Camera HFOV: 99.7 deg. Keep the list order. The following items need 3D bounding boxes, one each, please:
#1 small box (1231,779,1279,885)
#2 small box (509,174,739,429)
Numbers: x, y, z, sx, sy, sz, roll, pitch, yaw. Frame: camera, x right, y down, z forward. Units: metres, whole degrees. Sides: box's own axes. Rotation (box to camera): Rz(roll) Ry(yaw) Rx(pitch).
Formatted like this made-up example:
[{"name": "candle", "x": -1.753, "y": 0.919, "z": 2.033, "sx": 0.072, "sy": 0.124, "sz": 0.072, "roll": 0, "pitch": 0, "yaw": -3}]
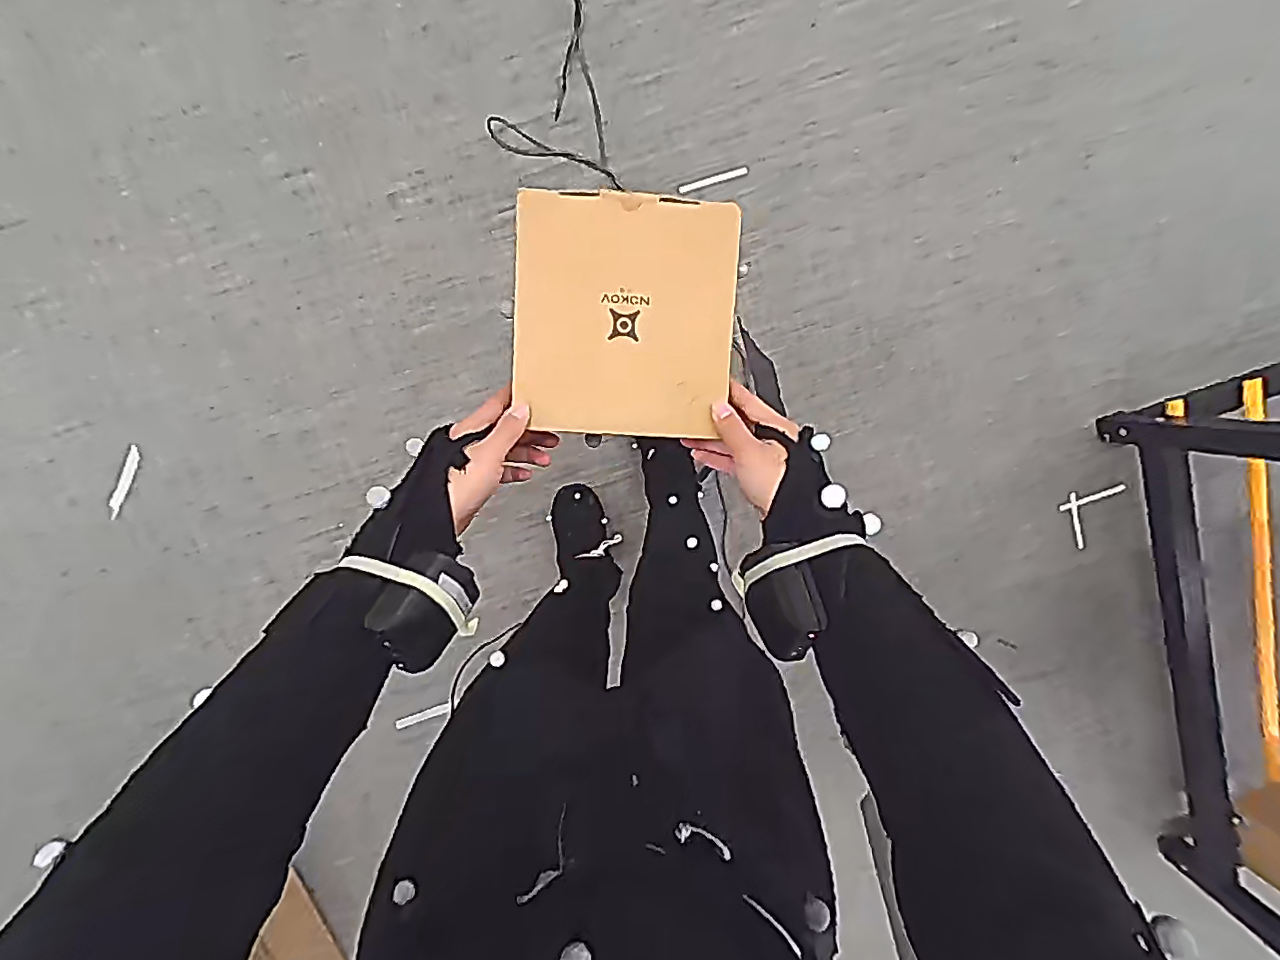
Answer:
[{"name": "small box", "x": 1.432, "y": 0.777, "z": 1.157, "sx": 0.179, "sy": 0.176, "sz": 0.168, "roll": -17, "pitch": 100, "yaw": 0}, {"name": "small box", "x": -0.016, "y": -0.138, "z": 0.477, "sx": 0.168, "sy": 0.176, "sz": 0.179, "roll": 2, "pitch": 96, "yaw": -3}]
